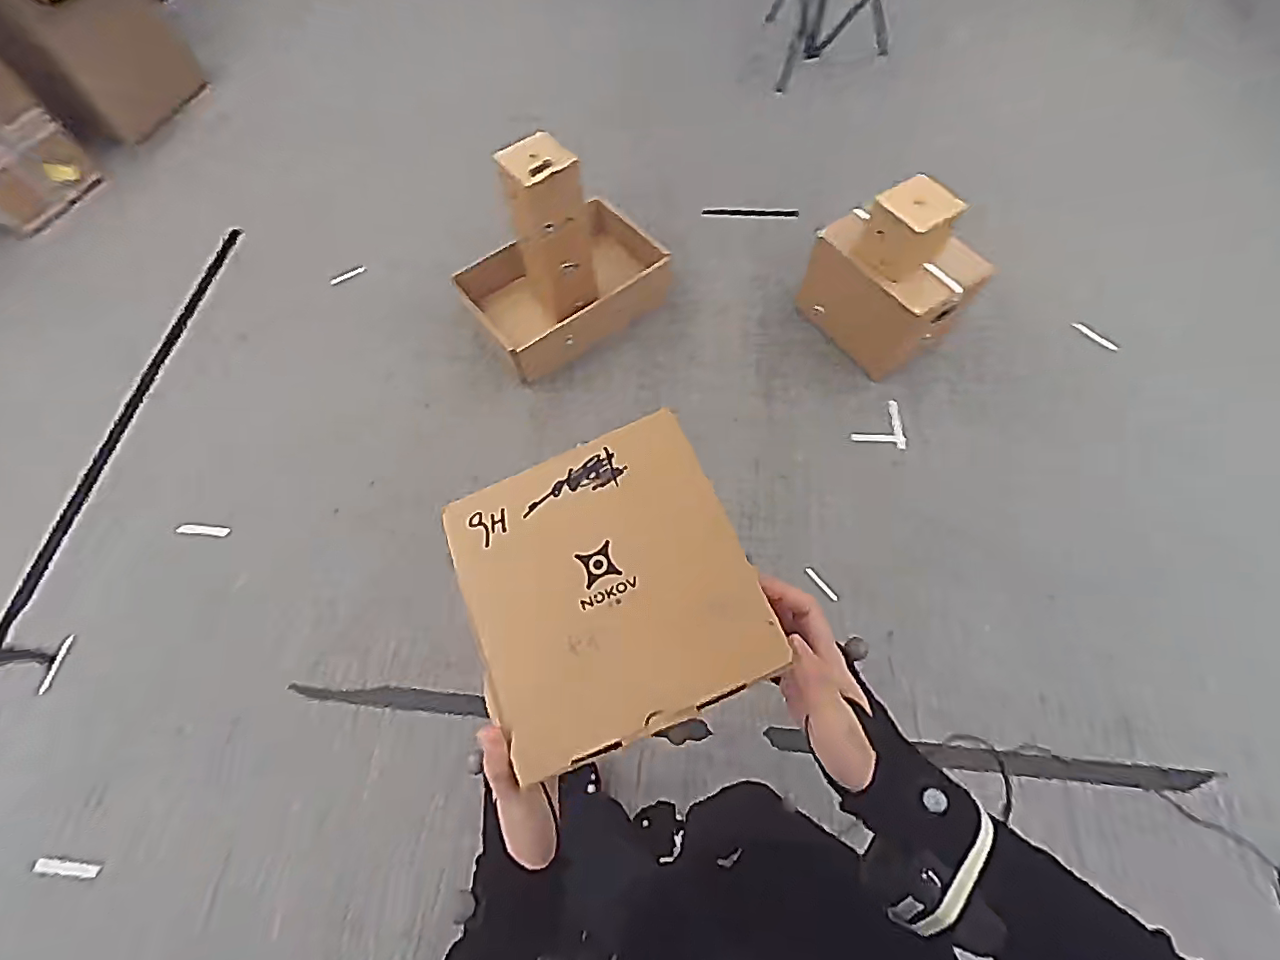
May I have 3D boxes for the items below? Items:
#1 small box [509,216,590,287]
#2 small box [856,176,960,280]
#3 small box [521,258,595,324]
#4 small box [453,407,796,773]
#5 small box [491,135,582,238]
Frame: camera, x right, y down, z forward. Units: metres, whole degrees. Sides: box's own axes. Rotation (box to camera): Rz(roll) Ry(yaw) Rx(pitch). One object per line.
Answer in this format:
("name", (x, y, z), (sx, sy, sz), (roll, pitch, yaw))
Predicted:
("small box", (-0.270, -0.728, 1.644), (0.168, 0.176, 0.179), (-35, 68, -14))
("small box", (0.722, -0.687, 1.487), (0.179, 0.176, 0.168), (-32, 67, -13))
("small box", (-0.266, -0.654, 1.788), (0.168, 0.176, 0.179), (-34, 67, -14))
("small box", (-0.008, 0.082, 0.399), (0.168, 0.176, 0.179), (-23, 69, -2))
("small box", (-0.280, -0.803, 1.498), (0.168, 0.176, 0.179), (-36, 67, -15))
